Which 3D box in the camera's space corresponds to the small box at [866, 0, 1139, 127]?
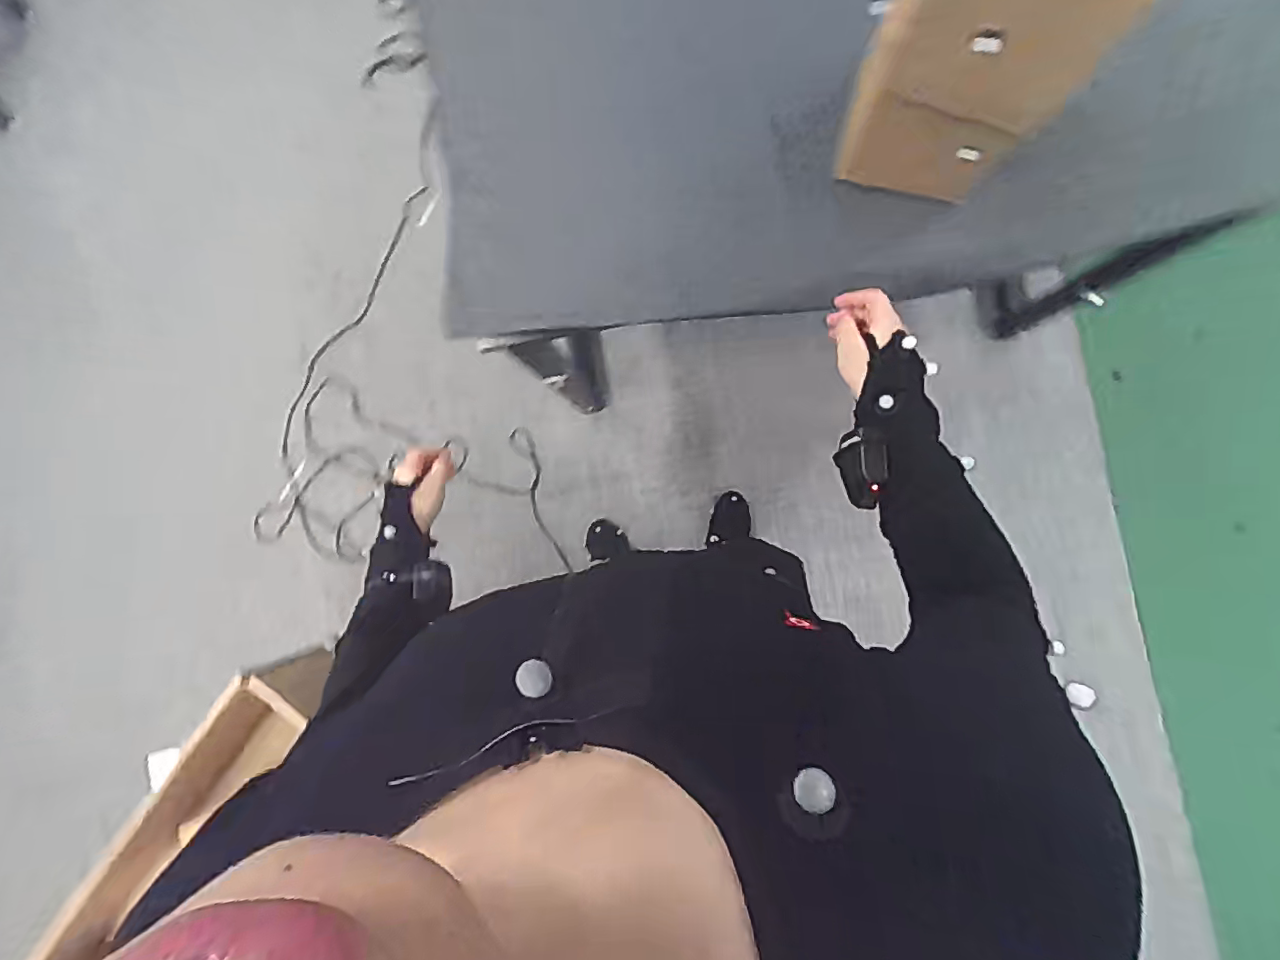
[{"bbox_3d":[0.346,-0.476,0.506,0.179,0.176,0.168,21,89,6],"label":"small box"}]
